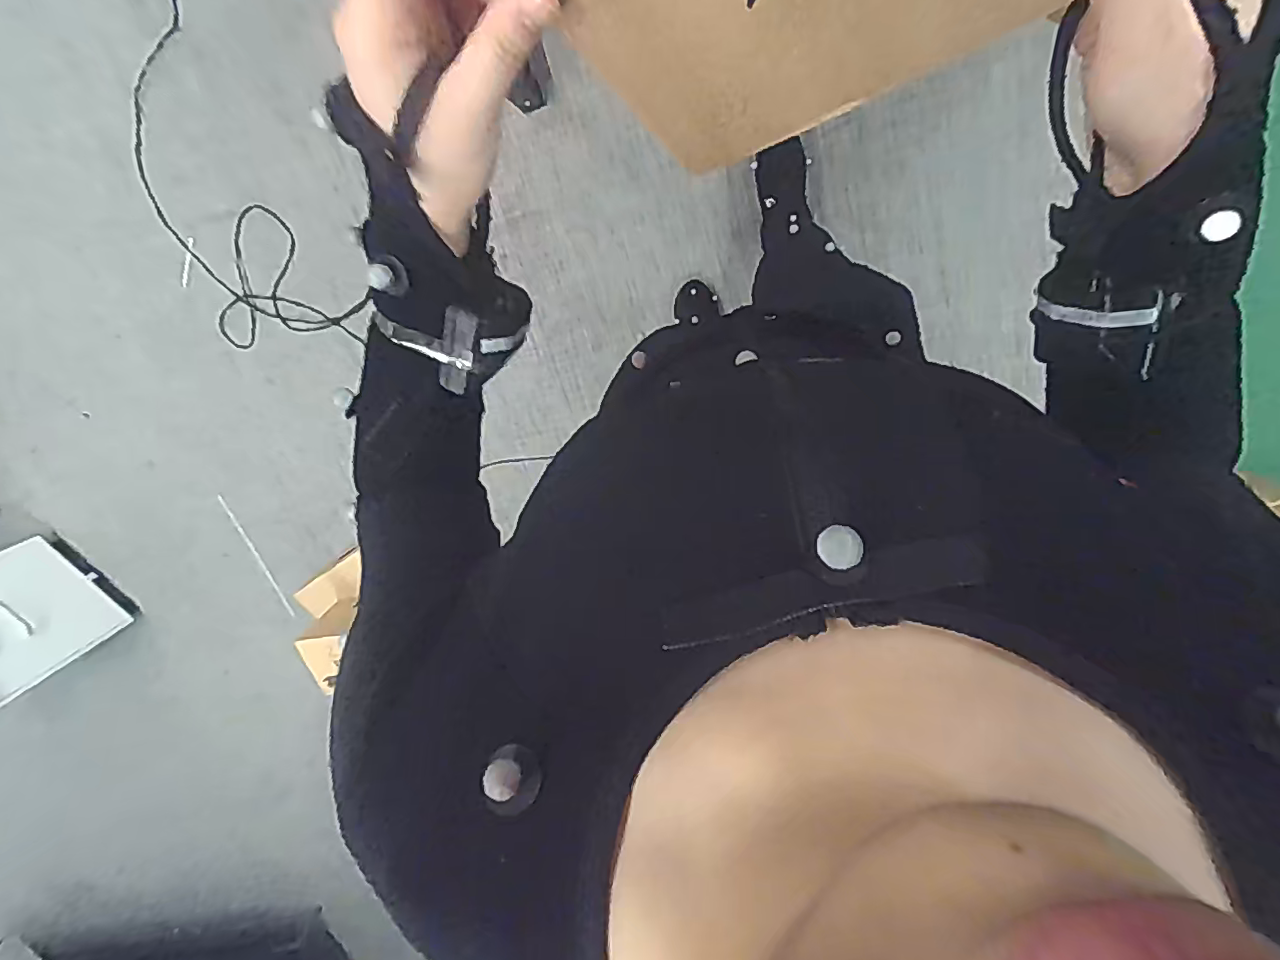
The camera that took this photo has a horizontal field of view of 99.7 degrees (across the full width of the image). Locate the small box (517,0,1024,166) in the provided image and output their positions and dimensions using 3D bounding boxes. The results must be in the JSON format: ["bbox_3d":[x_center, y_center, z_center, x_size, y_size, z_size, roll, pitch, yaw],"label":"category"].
[{"bbox_3d":[0.042,-0.276,0.209,0.179,0.168,0.176,-6,81,35],"label":"small box"}]
